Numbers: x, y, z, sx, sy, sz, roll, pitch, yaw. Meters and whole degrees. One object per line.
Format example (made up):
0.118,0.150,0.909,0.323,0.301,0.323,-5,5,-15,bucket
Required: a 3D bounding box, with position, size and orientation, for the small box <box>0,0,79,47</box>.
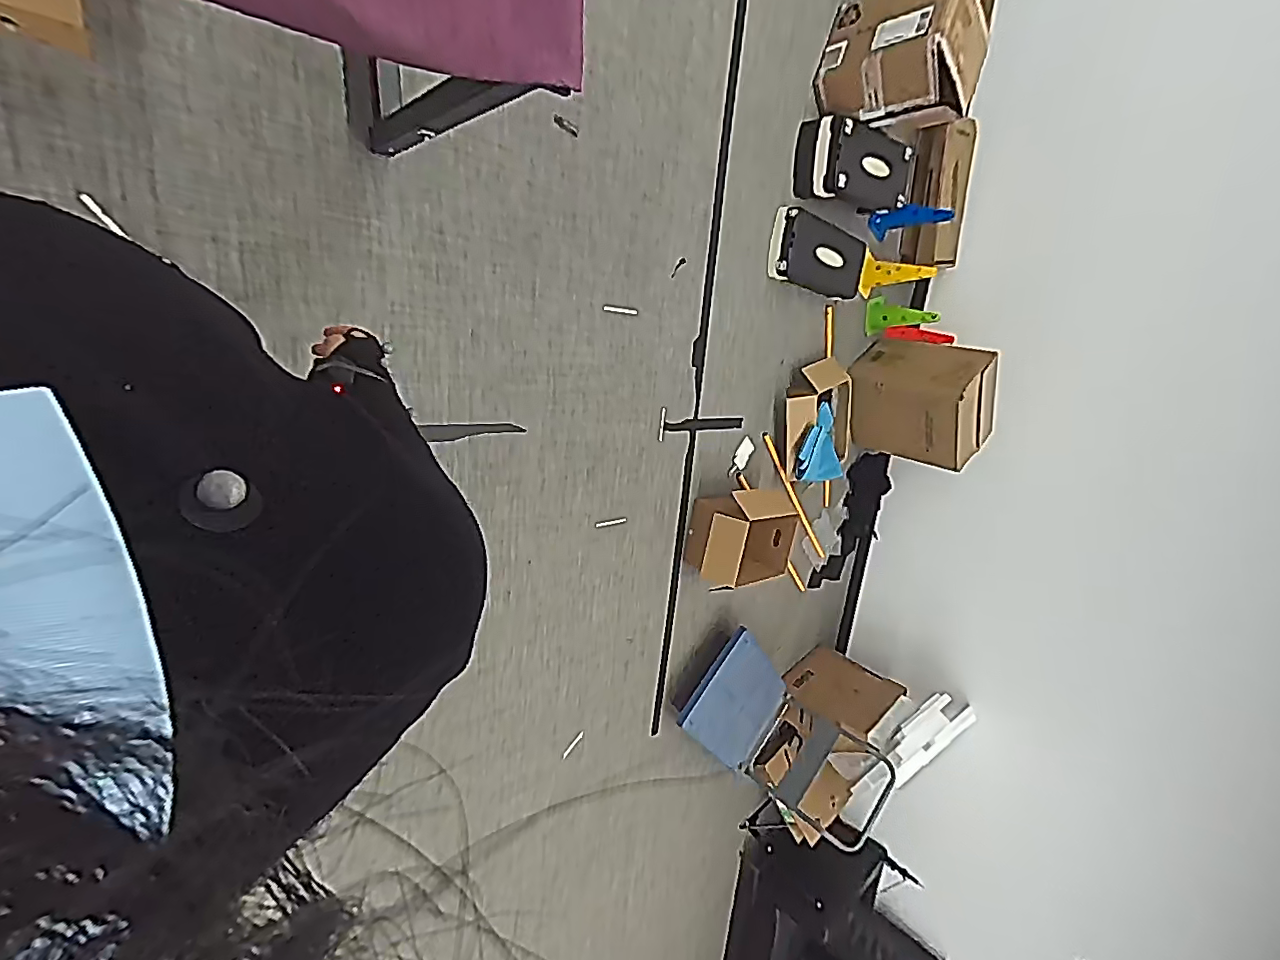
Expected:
-0.979,-0.805,0.817,0.168,0.176,0.179,-8,110,-43,small box
